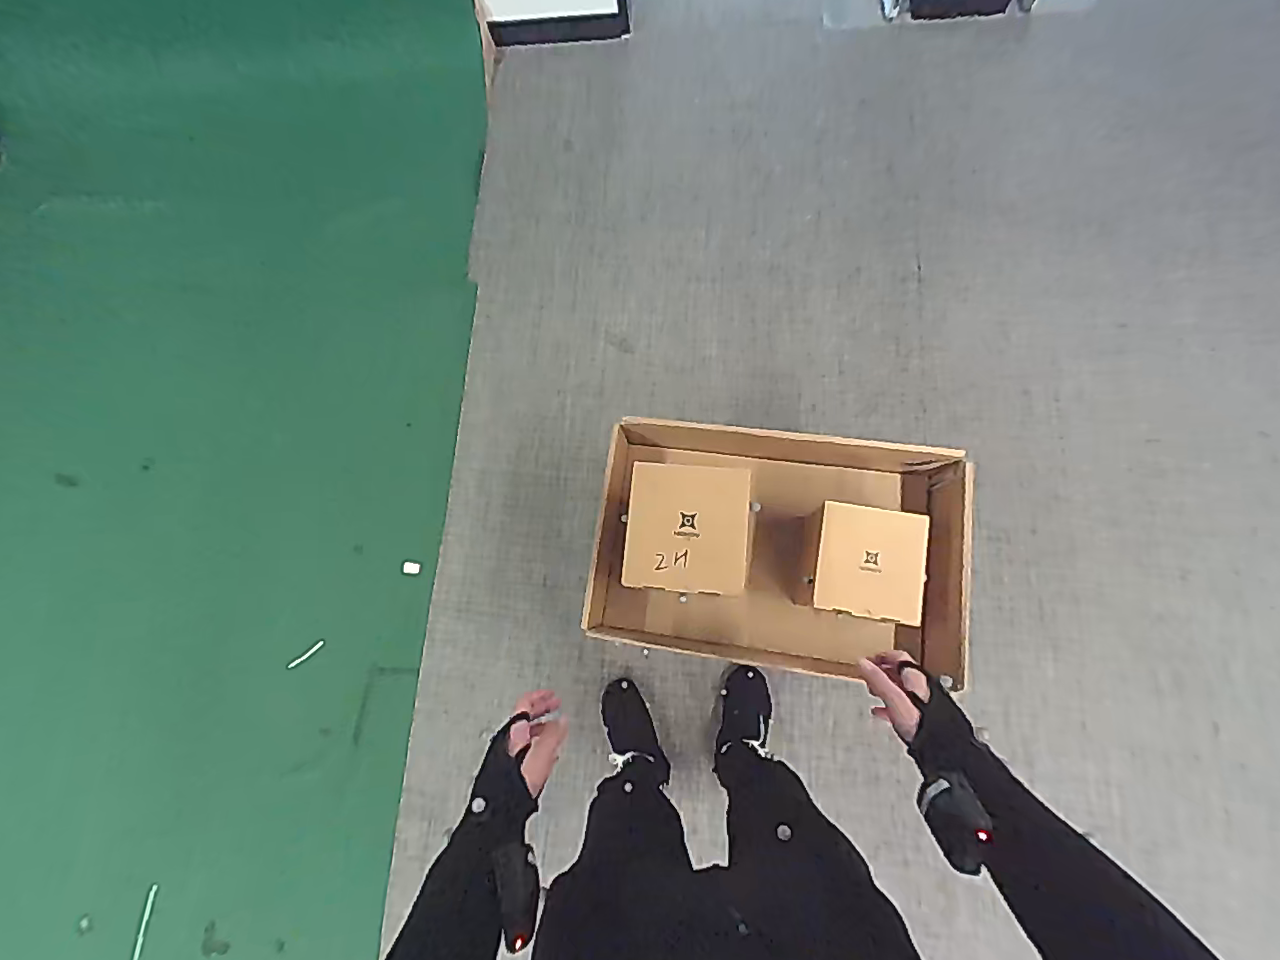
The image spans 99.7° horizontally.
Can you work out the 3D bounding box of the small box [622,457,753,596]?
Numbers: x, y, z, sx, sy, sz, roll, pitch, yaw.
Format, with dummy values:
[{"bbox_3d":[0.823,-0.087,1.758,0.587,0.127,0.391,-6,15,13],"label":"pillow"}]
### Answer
[{"bbox_3d":[0.073,0.076,0.810,0.168,0.176,0.179,5,78,8],"label":"small box"}]
